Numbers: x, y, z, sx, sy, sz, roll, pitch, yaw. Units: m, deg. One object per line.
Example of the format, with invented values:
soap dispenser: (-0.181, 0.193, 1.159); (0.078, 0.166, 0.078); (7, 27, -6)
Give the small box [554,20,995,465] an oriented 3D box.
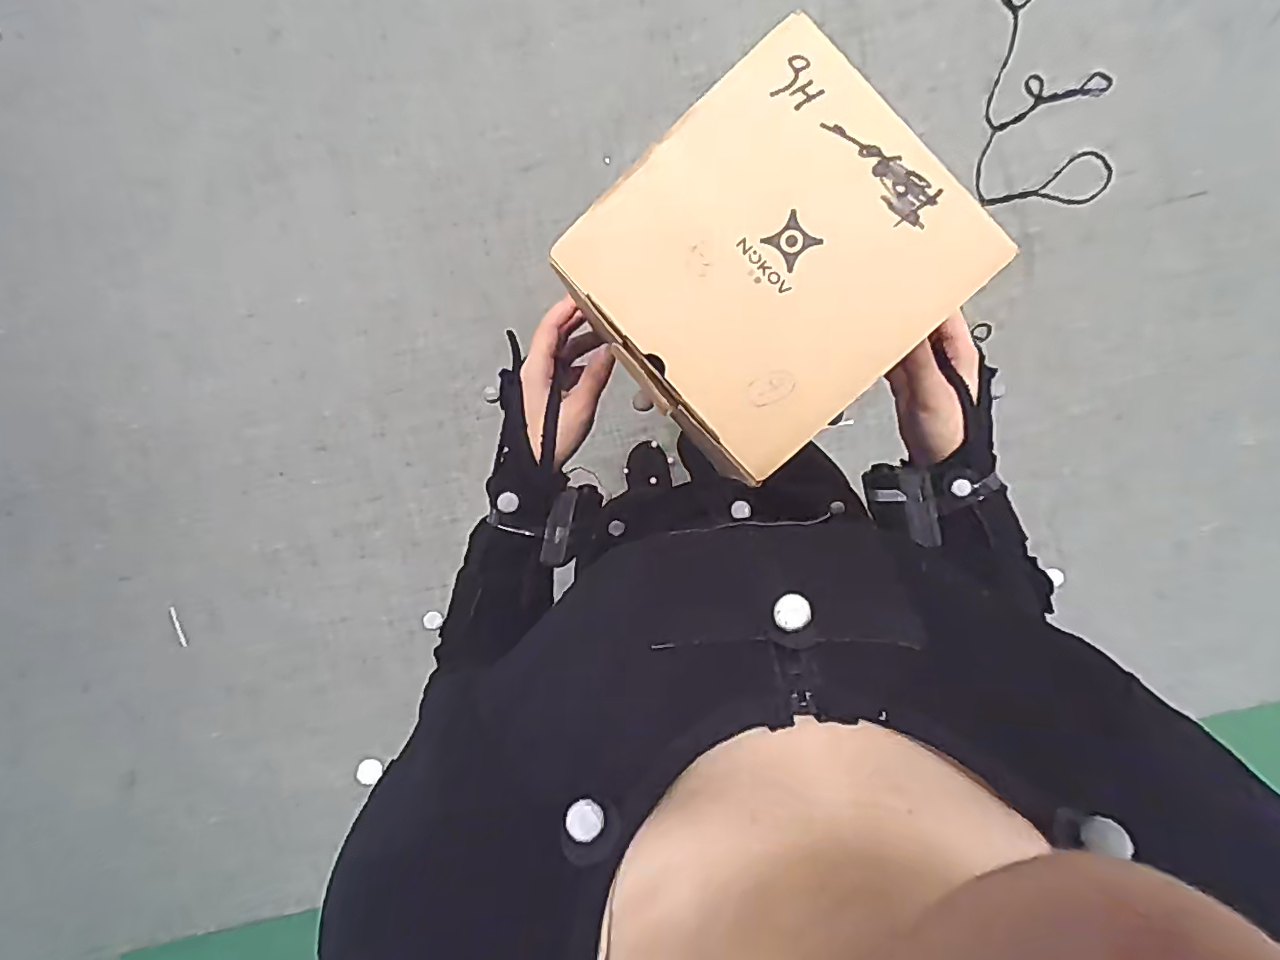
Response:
small box: (0.074, -0.126, 0.366); (0.179, 0.176, 0.168); (-43, 90, 5)
